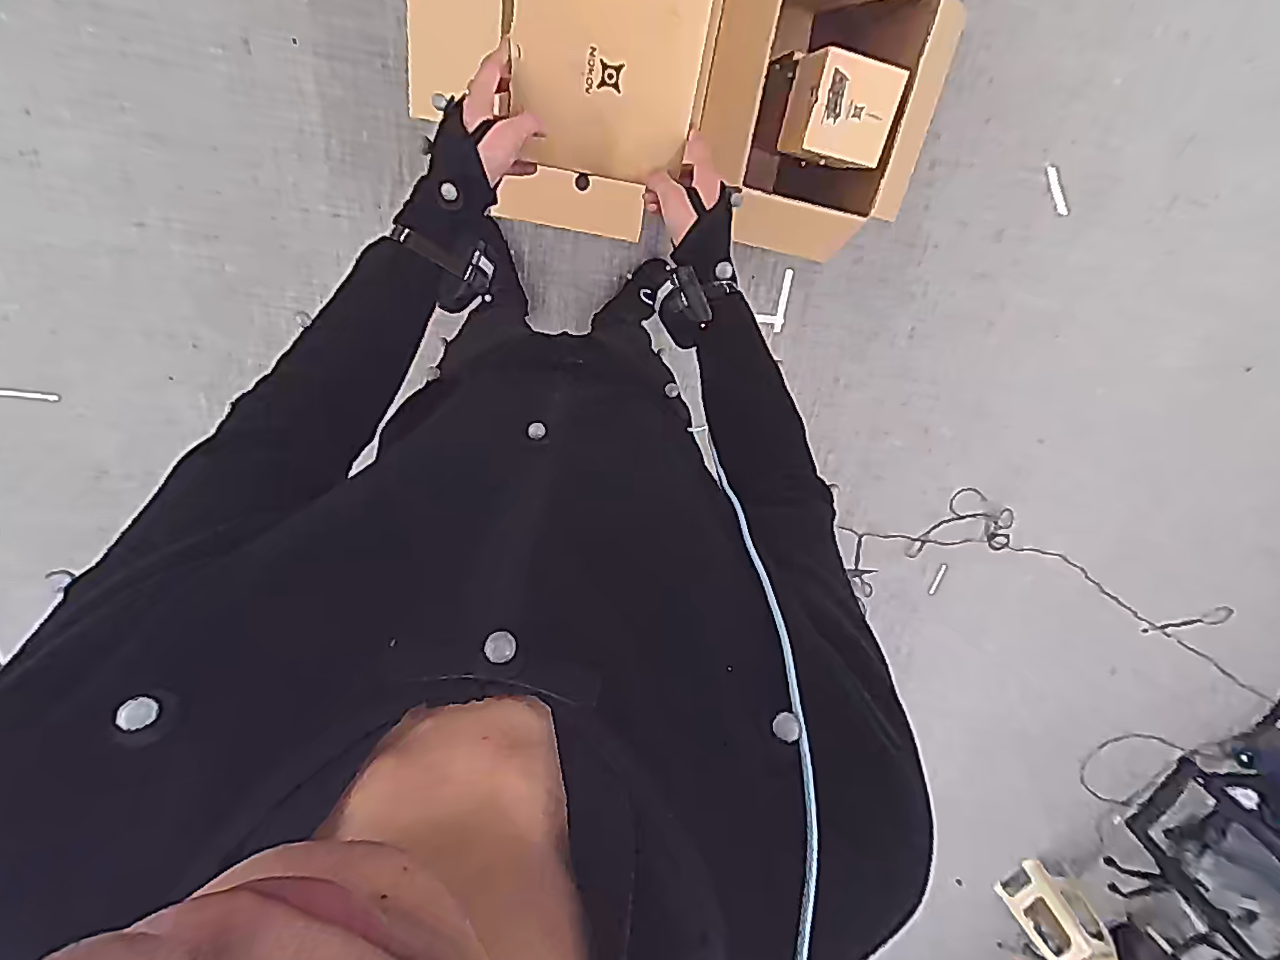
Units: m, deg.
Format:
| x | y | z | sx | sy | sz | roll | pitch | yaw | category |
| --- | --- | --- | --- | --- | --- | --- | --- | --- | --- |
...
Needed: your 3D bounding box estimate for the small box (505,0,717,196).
| x | y | z | sx | sy | sz | roll | pitch | yaw | category |
| --- | --- | --- | --- | --- | --- | --- | --- | --- | --- |
| -0.041 | -0.409 | 0.559 | 0.179 | 0.176 | 0.168 | 5 | 122 | -11 | small box |
